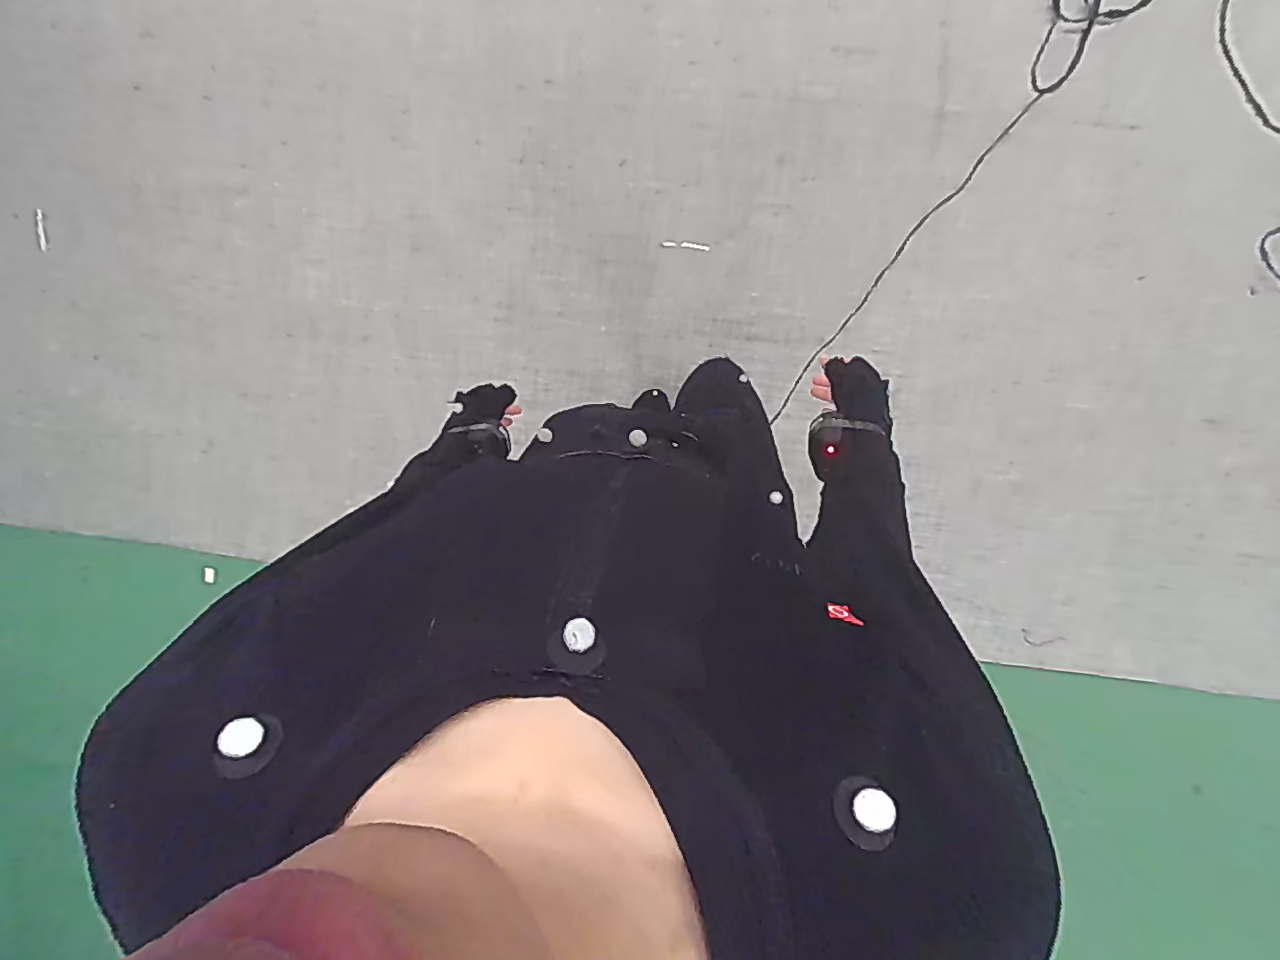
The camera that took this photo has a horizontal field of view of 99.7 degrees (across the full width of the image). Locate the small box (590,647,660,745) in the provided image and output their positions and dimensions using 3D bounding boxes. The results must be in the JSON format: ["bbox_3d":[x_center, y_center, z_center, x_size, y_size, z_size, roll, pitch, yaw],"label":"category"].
[{"bbox_3d":[-0.037,0.592,1.495,0.168,0.176,0.179,8,102,1],"label":"small box"}]
